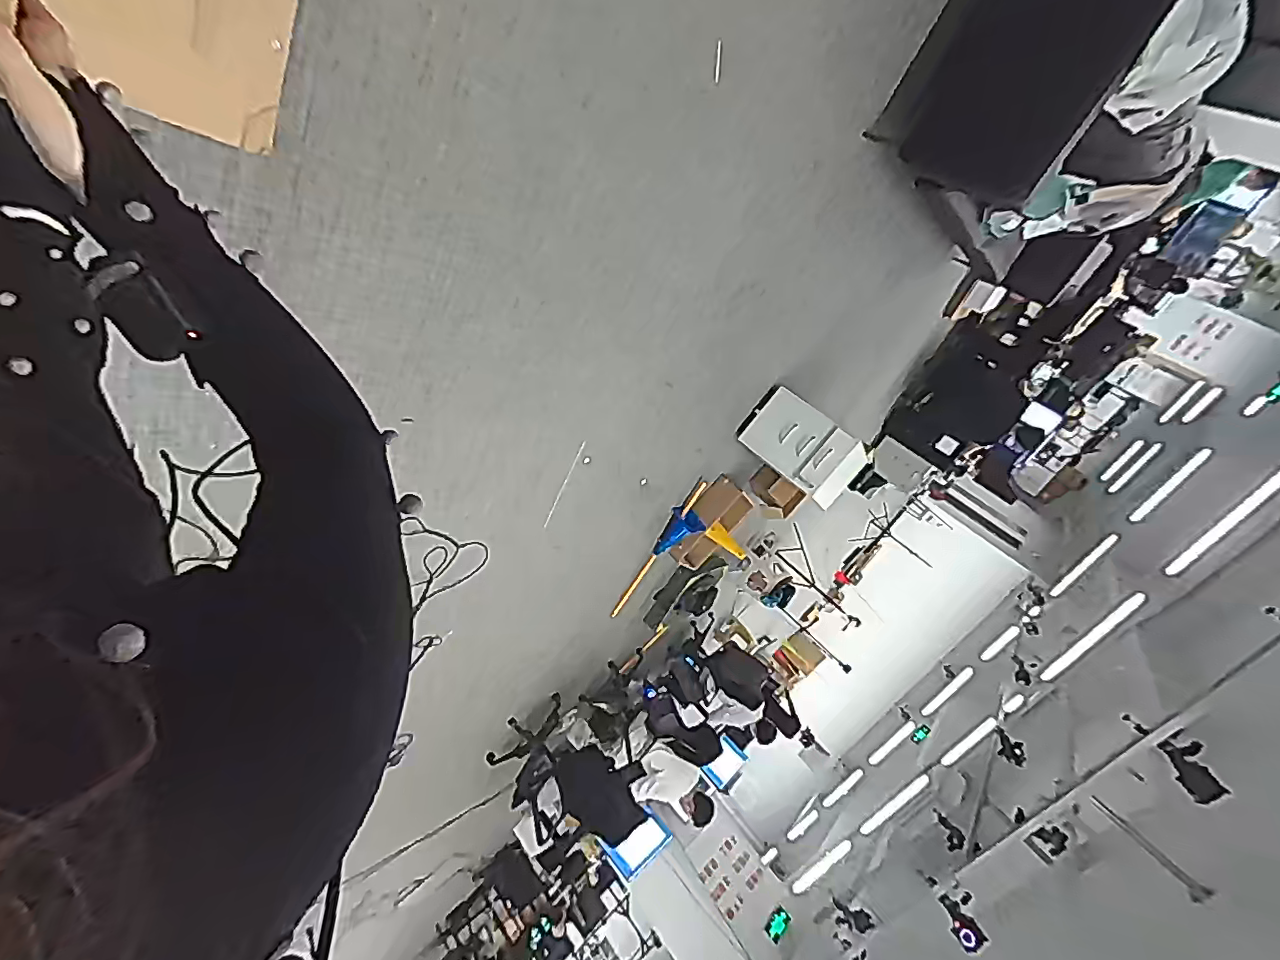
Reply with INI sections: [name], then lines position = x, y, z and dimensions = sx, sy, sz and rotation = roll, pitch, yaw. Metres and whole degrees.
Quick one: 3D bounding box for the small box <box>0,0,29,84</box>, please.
[small box]
position = -0.460, -0.362, 0.296
dimensions = 0.168, 0.176, 0.179
rotation = 1, 108, -47
